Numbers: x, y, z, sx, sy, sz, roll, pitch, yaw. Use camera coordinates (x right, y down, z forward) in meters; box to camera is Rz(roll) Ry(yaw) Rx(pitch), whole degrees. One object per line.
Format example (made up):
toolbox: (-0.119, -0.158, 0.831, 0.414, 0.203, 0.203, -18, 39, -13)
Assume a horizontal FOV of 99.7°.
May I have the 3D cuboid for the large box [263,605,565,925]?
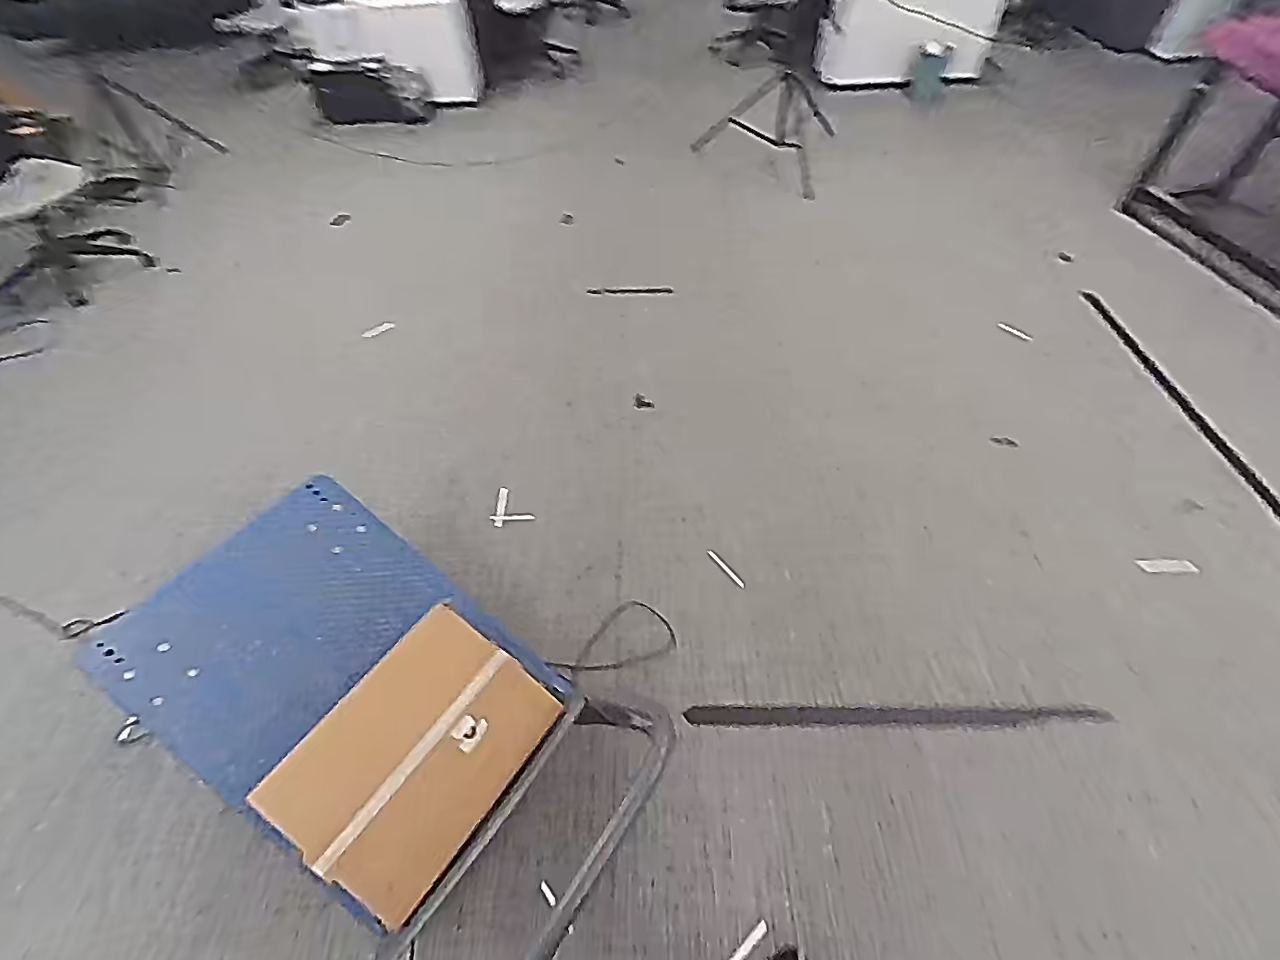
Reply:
large box: (-0.411, 0.526, 1.063, 0.320, 0.320, 0.408, 40, 60, 1)
